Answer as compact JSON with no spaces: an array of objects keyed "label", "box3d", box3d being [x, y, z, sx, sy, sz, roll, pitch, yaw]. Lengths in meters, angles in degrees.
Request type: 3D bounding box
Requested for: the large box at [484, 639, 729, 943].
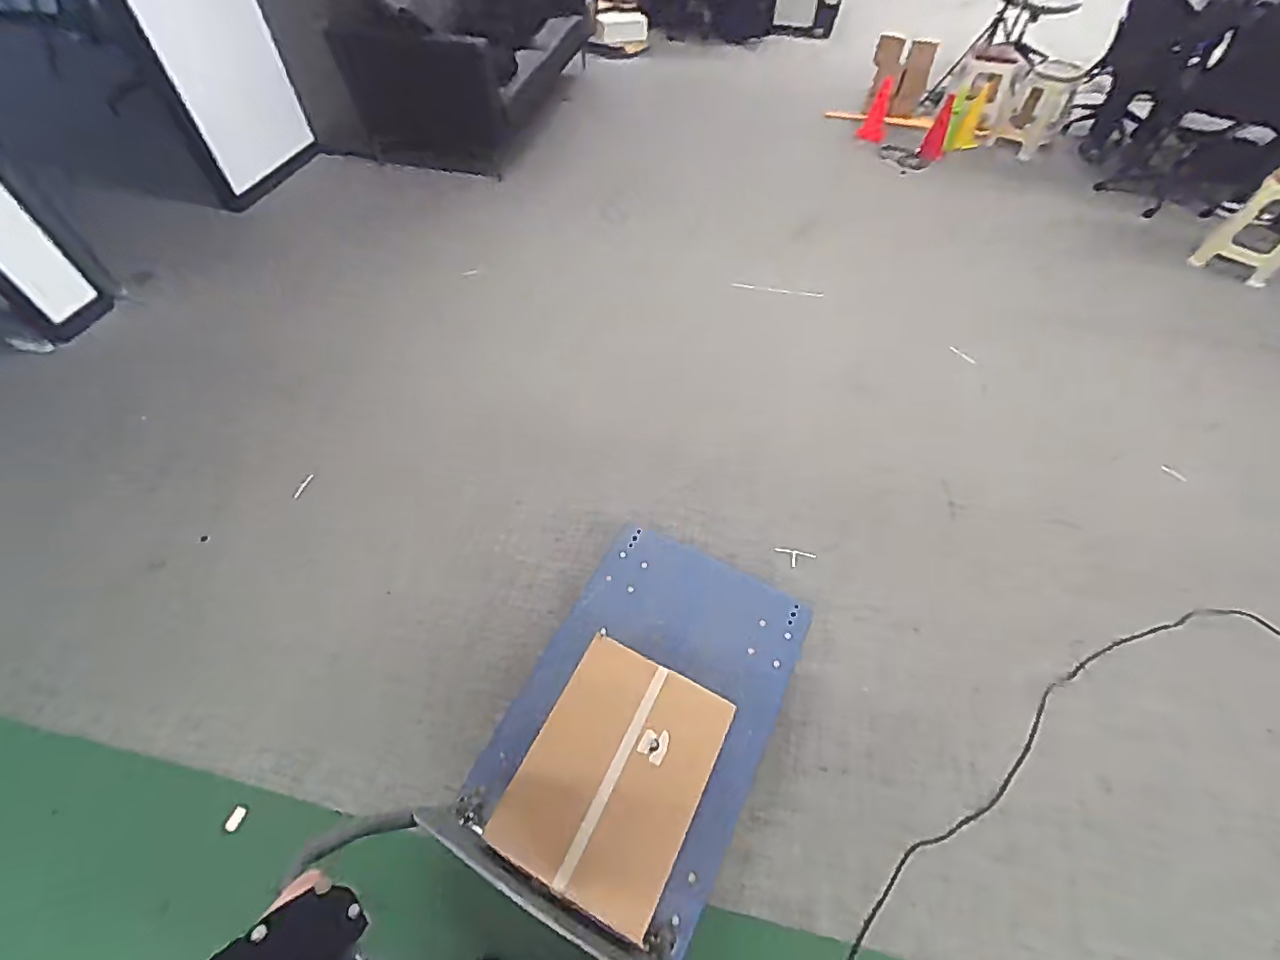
[{"label":"large box","box3d":[-0.048,0.616,1.109,0.320,0.320,0.408,24,59,15]}]
